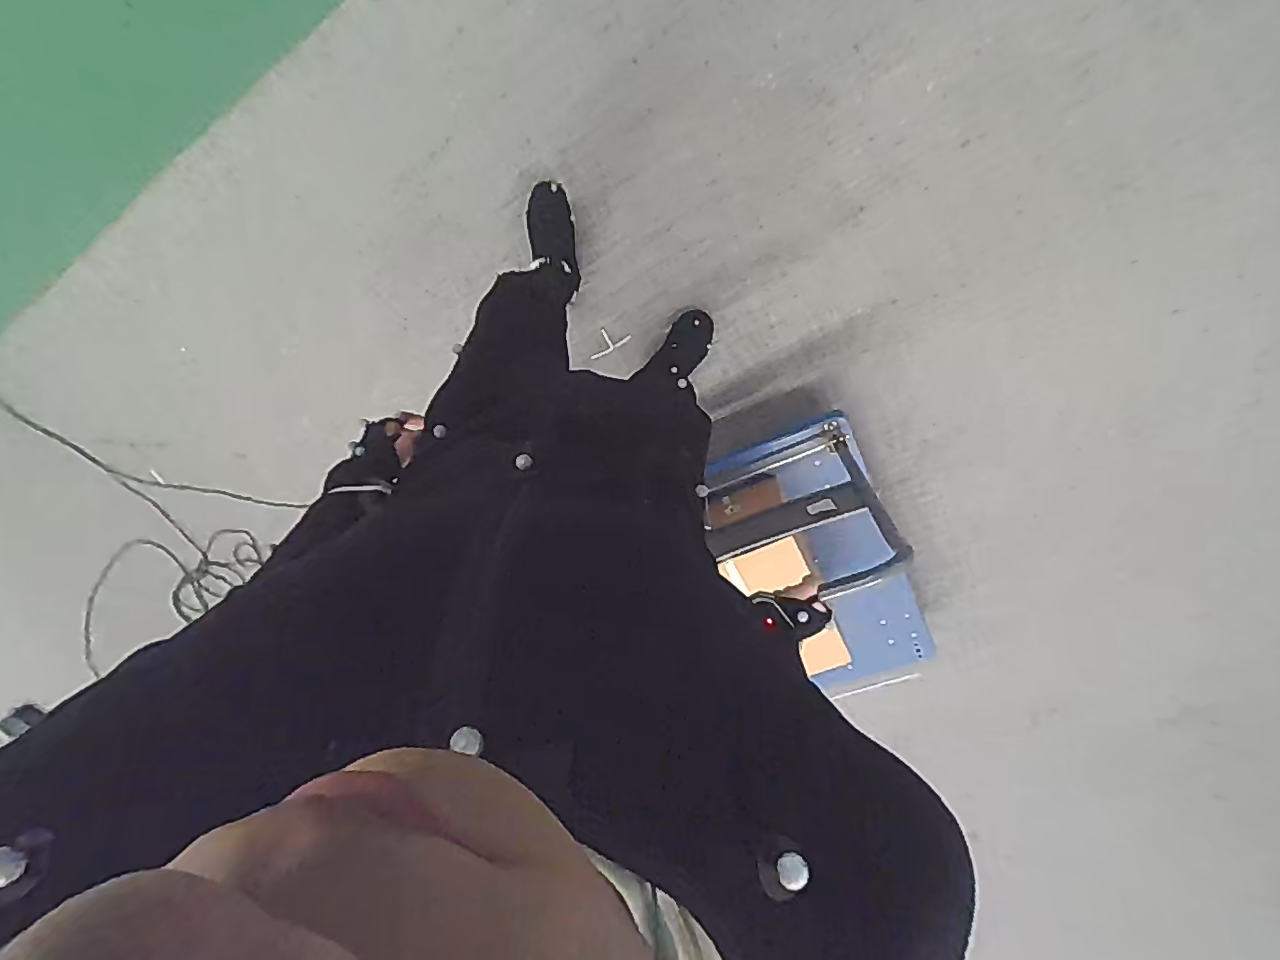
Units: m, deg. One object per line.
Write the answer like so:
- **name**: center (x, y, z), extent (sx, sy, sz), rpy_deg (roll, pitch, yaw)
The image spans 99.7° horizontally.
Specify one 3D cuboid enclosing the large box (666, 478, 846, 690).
- **large box**: center (0.299, 0.271, 1.446), extent (0.320, 0.320, 0.408), rpy_deg (-23, 111, 17)
